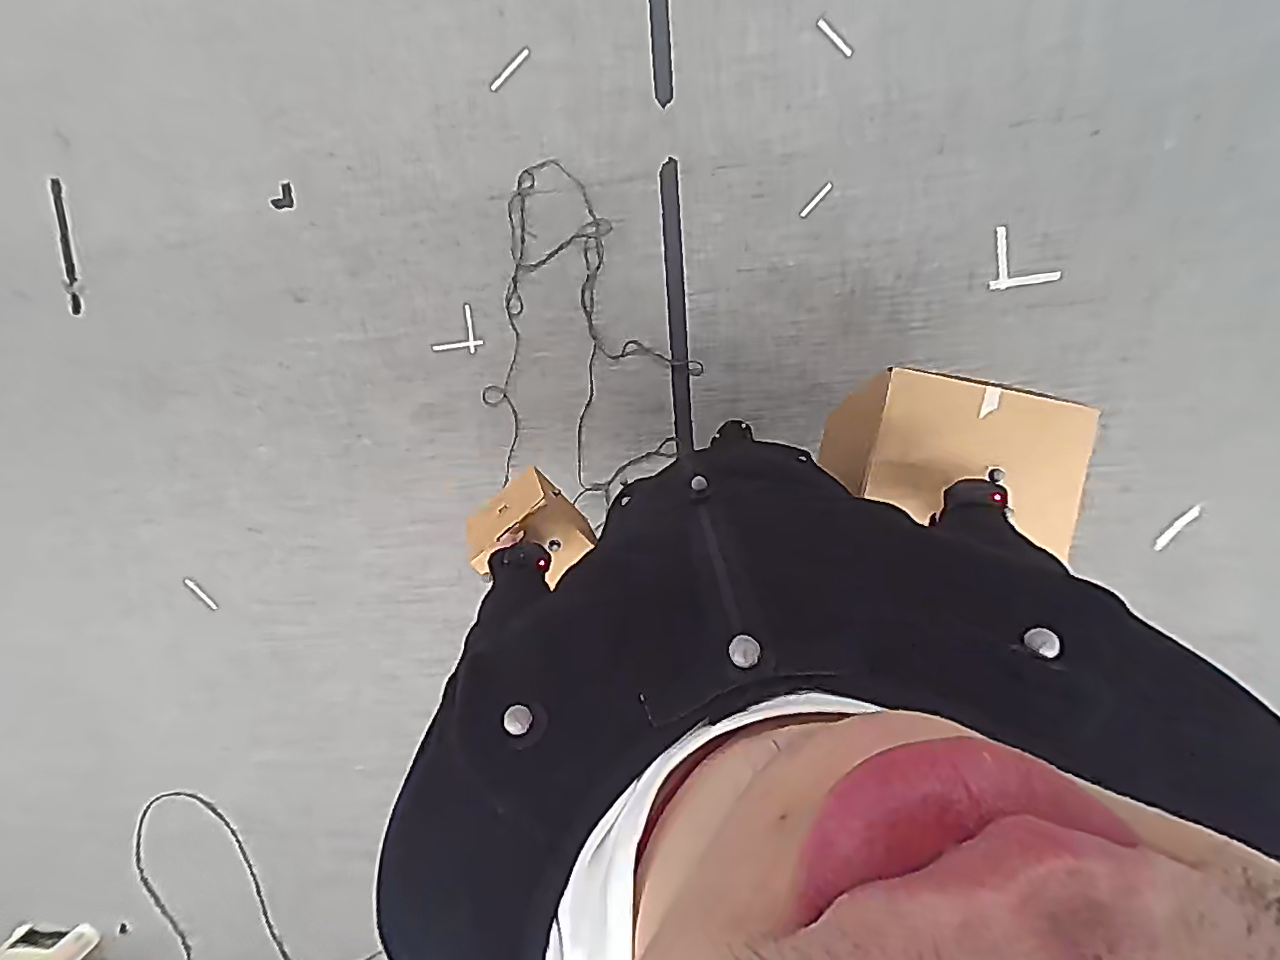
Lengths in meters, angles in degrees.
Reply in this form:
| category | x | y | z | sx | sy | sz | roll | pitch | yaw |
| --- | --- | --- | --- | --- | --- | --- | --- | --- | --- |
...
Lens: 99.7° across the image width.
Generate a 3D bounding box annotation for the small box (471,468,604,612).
| category | x | y | z | sx | sy | sz | roll | pitch | yaw |
| --- | --- | --- | --- | --- | --- | --- | --- | --- | --- |
| small box | -0.187 | 0.113 | 0.986 | 0.168 | 0.179 | 0.176 | -41 | 115 | 0 |
